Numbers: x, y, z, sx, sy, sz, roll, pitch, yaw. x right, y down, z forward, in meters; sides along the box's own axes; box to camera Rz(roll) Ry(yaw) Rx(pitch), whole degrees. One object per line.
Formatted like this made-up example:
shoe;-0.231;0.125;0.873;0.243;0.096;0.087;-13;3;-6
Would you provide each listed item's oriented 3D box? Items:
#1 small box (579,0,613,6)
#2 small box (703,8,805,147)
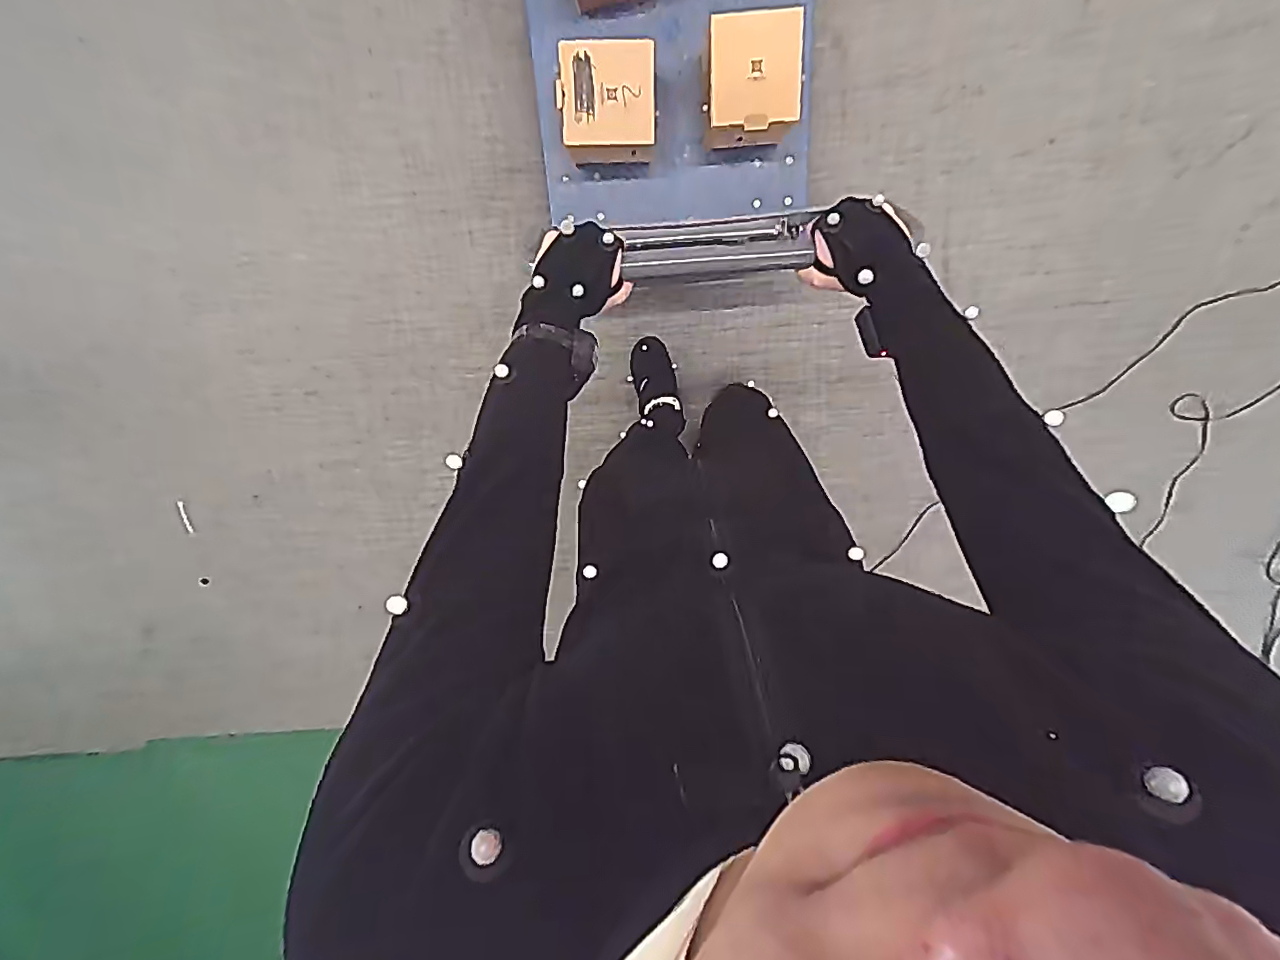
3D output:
small box;-0.058;-1.001;0.974;0.168;0.176;0.179;-11;110;4
small box;0.215;-0.776;1.059;0.168;0.176;0.179;-3;111;2
